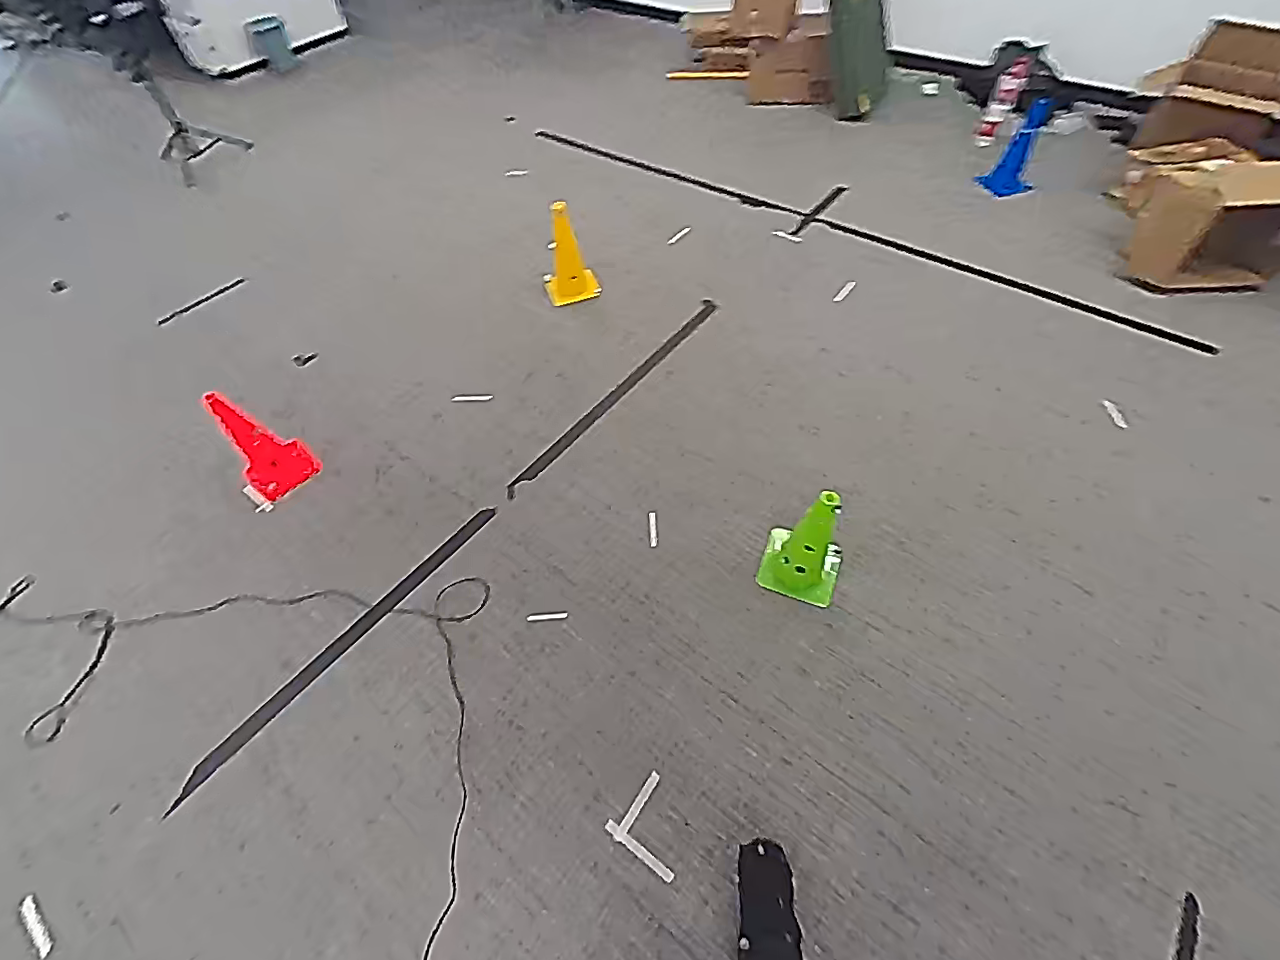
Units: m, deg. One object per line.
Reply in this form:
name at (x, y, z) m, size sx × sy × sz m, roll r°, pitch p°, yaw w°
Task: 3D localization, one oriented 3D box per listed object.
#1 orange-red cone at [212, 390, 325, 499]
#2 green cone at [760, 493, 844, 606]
orange-red cone at (-1.192, -0.140, 1.679) m, size 0.199 × 0.360 × 0.198 m, roll -39°, pitch 62°, yaw -23°
green cone at (0.446, 0.142, 1.380) m, size 0.200 × 0.368 × 0.202 m, roll 17°, pitch 59°, yaw 16°
